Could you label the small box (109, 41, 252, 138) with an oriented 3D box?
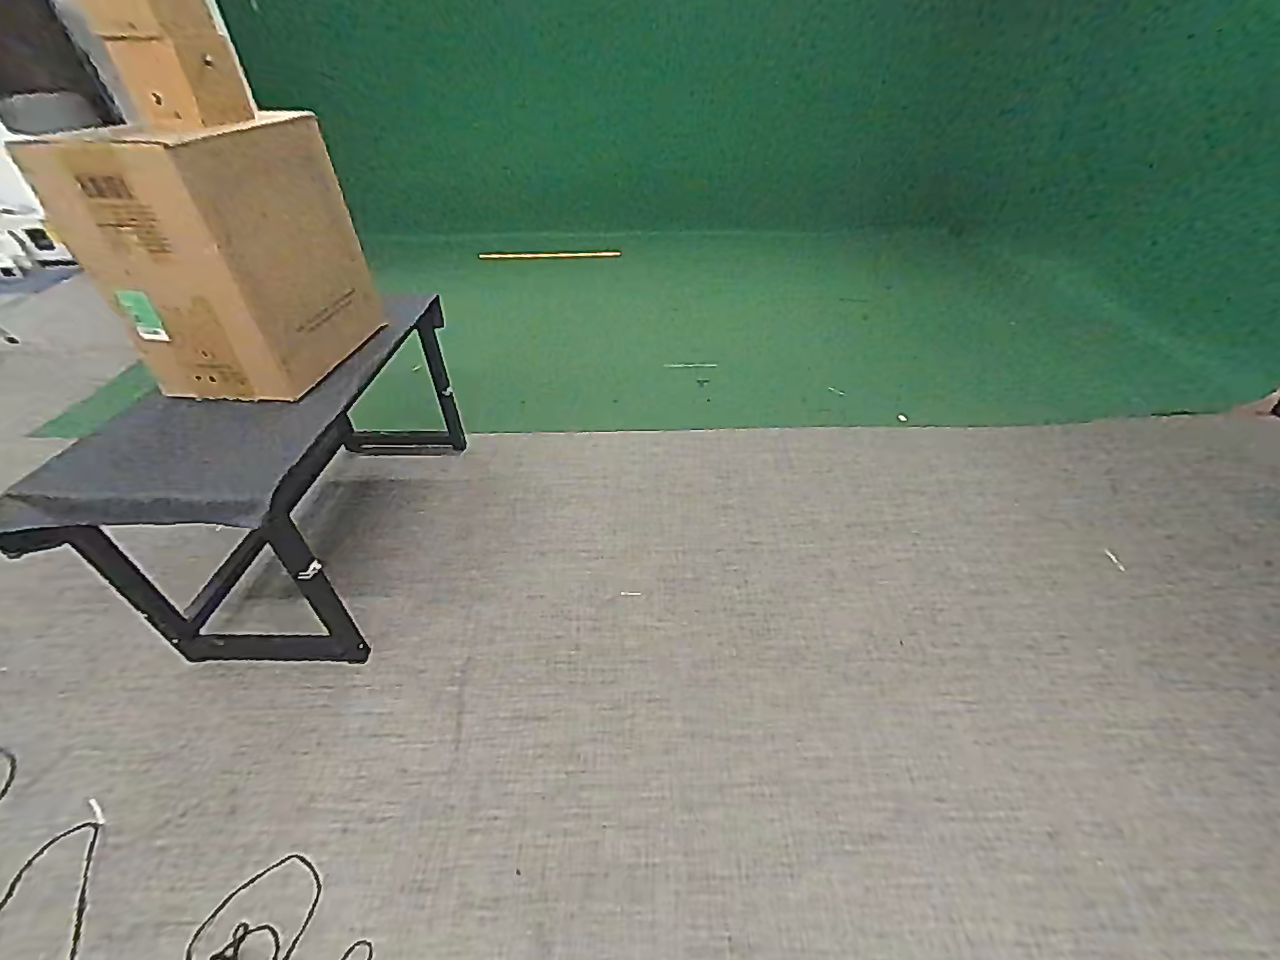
[{"bbox_3d":[-1.068,-0.928,1.282,0.168,0.176,0.179,6,41,5],"label":"small box"}]
